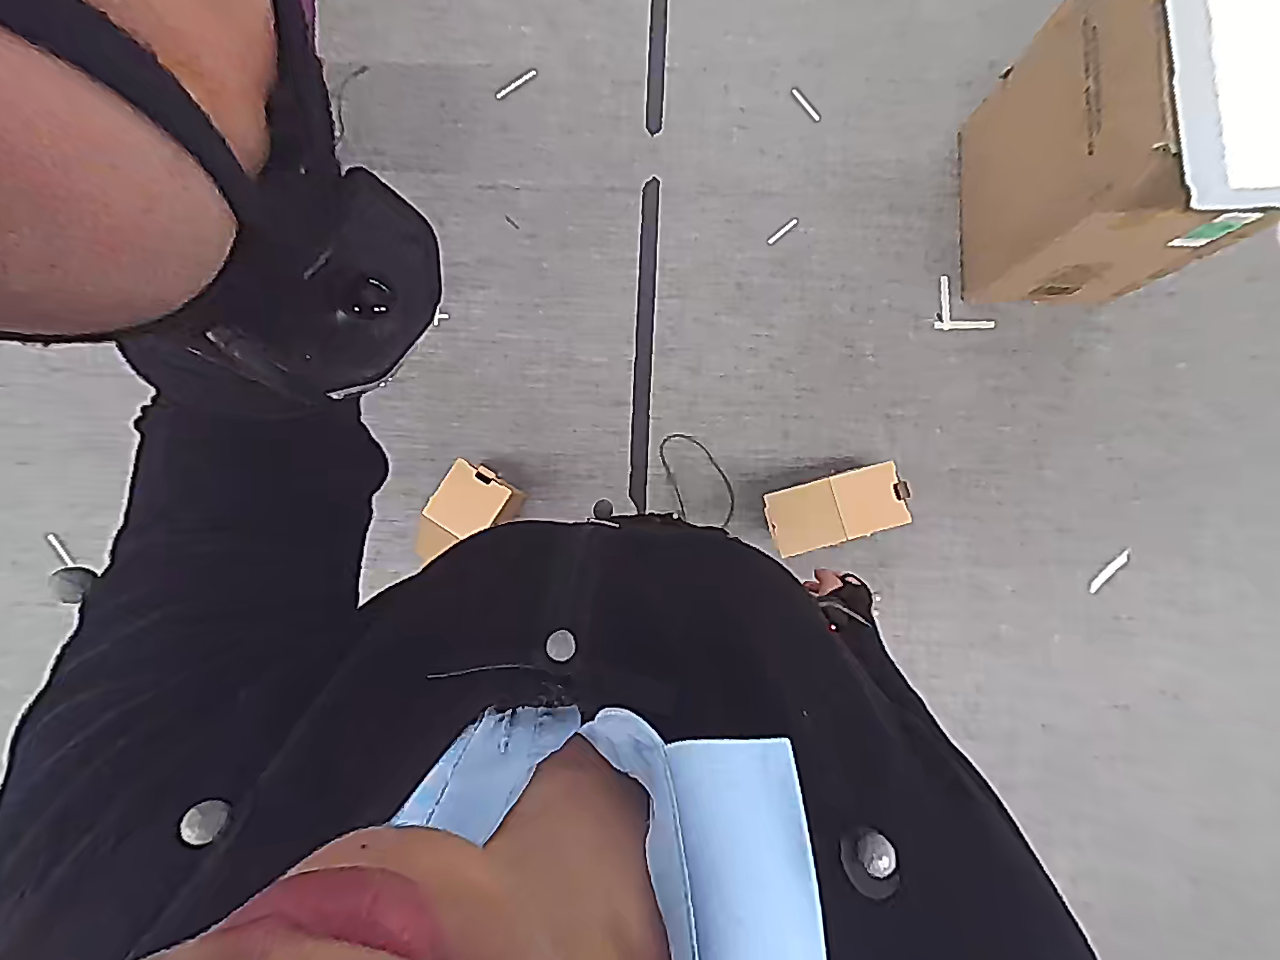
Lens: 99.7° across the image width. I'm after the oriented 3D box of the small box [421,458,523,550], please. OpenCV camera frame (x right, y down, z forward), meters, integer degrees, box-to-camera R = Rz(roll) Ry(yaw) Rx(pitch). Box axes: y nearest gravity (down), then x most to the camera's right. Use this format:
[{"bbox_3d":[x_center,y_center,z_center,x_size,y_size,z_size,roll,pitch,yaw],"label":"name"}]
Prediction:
[{"bbox_3d":[-0.431,0.067,1.425,0.168,0.176,0.179,33,86,2],"label":"small box"}]
